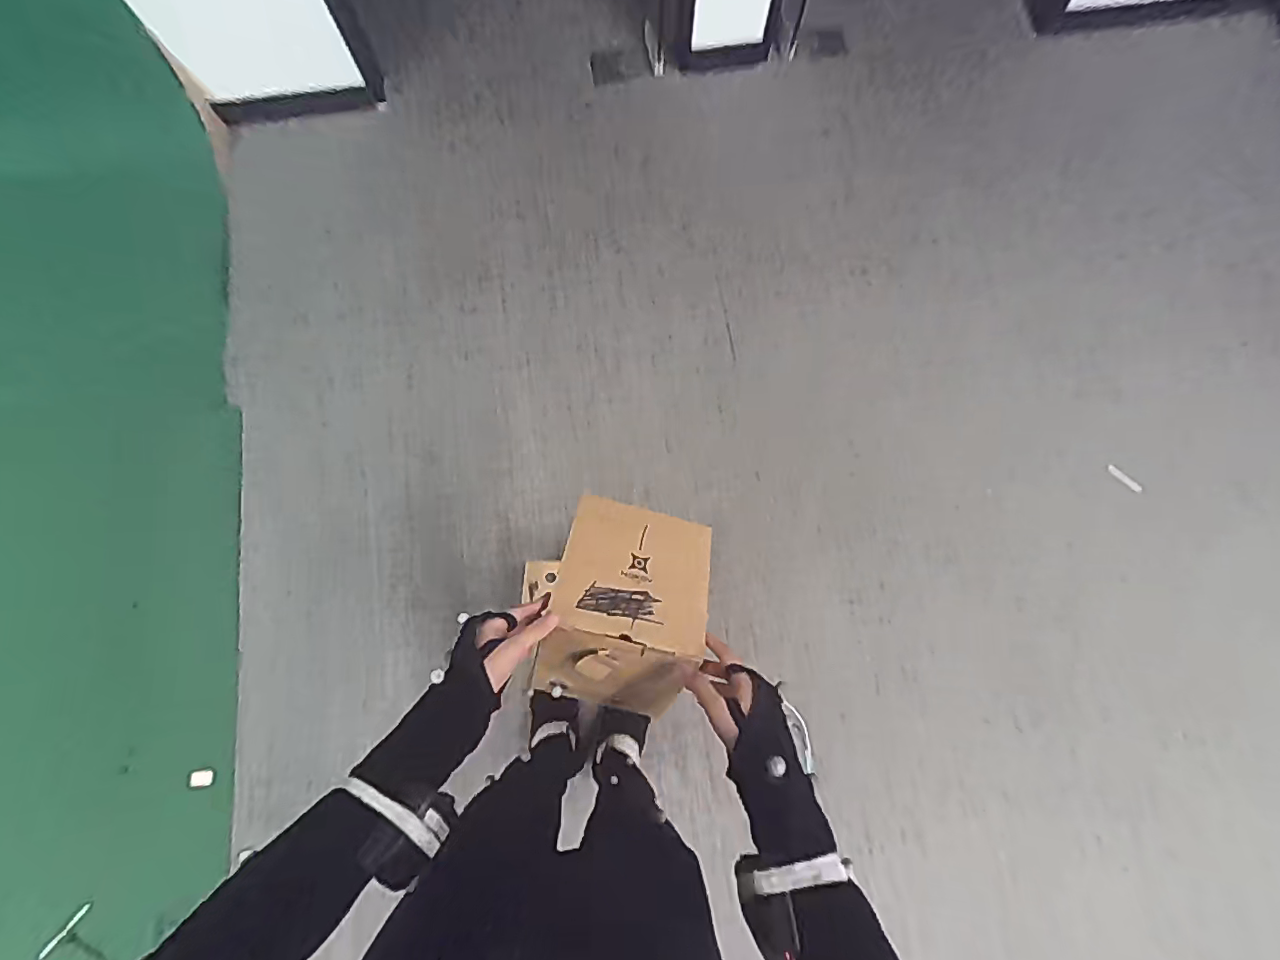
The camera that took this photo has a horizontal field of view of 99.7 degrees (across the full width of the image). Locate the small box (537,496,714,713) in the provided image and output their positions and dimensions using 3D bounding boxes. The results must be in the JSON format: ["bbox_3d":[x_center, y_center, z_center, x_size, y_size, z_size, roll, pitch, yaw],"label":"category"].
[{"bbox_3d":[-0.020,0.152,0.639,0.168,0.176,0.179,14,47,-4],"label":"small box"}]
